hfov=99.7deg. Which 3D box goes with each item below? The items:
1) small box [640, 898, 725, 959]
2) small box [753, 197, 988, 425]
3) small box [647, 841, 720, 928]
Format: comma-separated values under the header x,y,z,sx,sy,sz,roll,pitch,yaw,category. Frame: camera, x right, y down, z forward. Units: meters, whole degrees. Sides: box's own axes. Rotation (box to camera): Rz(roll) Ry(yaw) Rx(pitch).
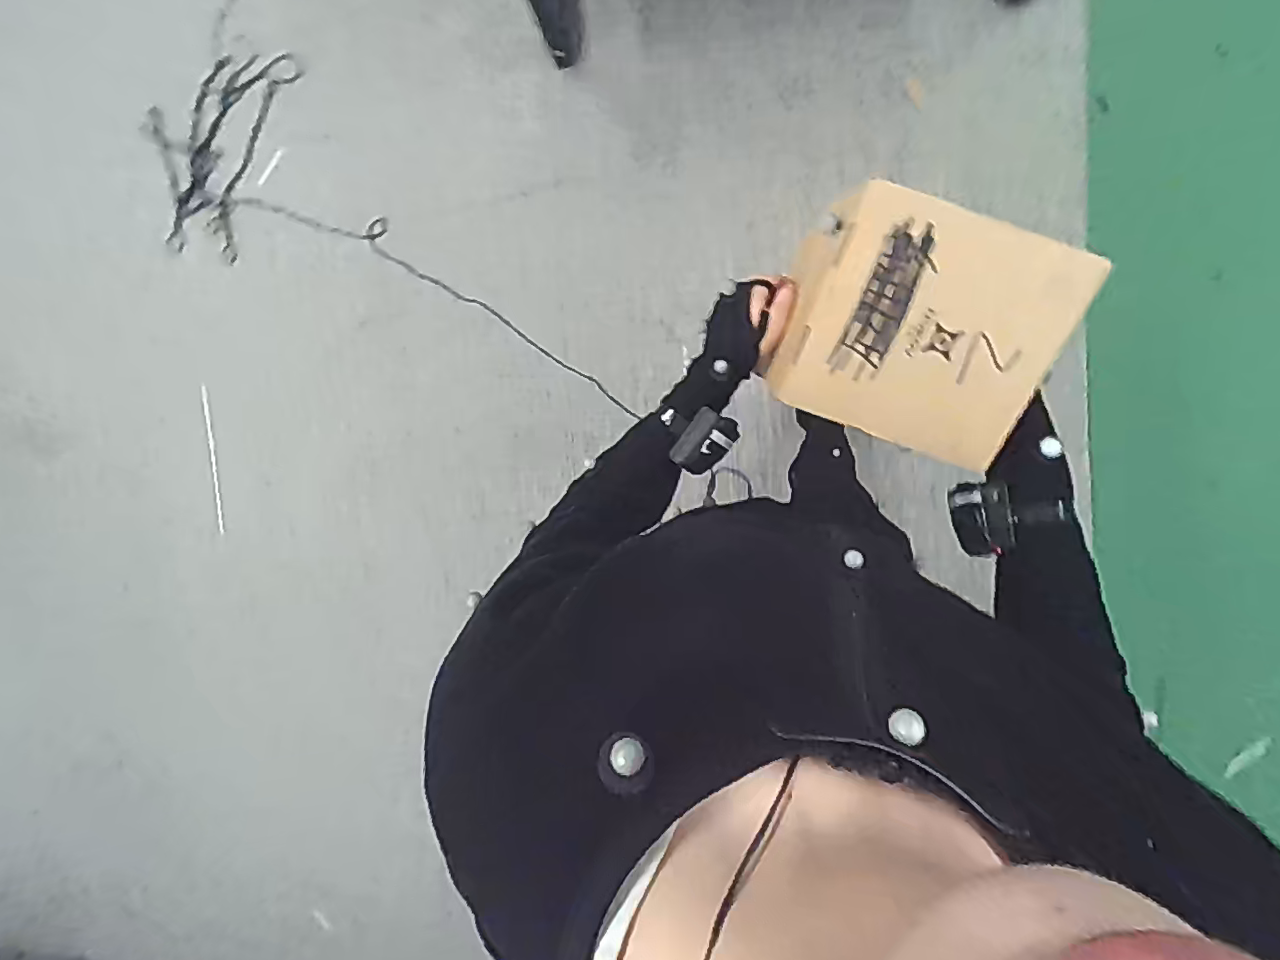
x,y,z,sx,sy,sz,roll,pitch,yaw,category
0.105,1.163,1.310,0.179,0.176,0.168,-20,91,9,small box
0.241,-0.190,0.623,0.168,0.176,0.179,25,110,-2,small box
0.119,1.144,1.473,0.168,0.176,0.179,17,96,7,small box
